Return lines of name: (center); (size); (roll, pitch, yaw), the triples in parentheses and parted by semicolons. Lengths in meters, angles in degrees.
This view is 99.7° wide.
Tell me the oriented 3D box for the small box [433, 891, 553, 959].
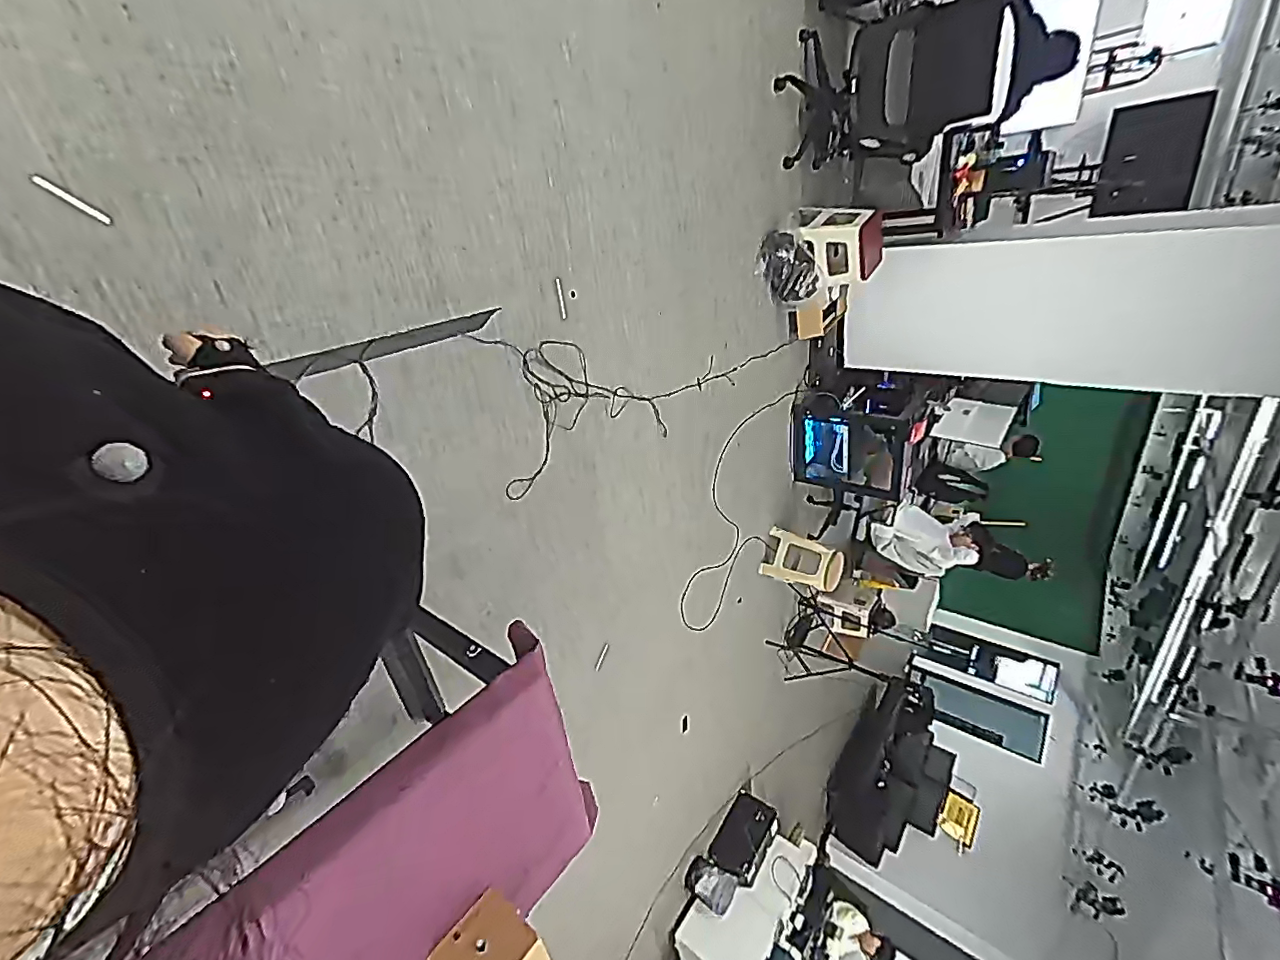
small box: (-0.296, 1.004, 1.114); (0.168, 0.176, 0.179); (-34, 124, -40)
